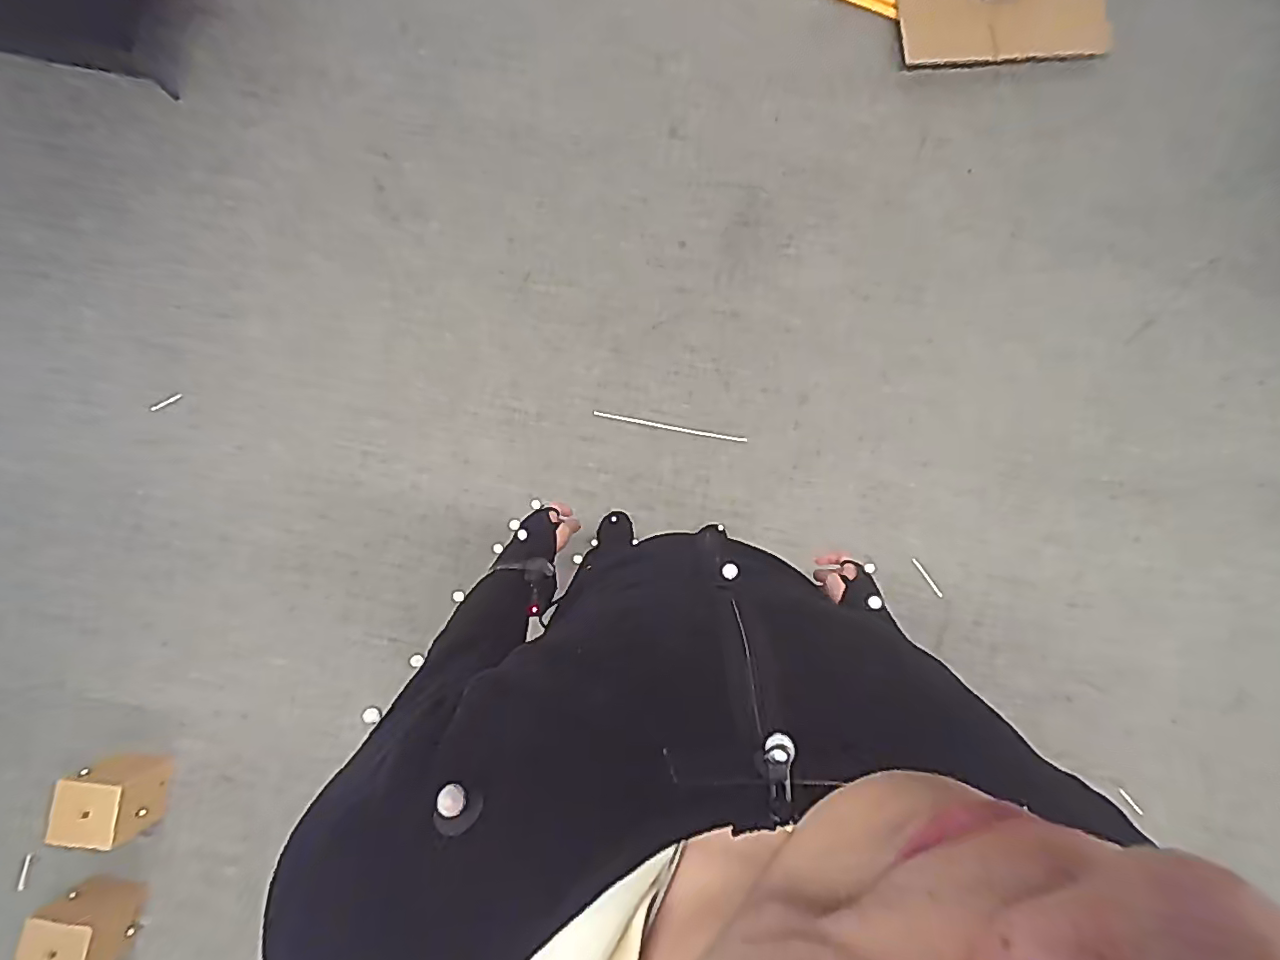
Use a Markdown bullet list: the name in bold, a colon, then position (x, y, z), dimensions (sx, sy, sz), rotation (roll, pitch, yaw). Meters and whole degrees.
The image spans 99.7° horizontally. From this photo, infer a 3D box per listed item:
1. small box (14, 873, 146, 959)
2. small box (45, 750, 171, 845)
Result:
- **small box**: position (-1.518, 1.214, 1.470), dimensions (0.179, 0.176, 0.168), rotation (10, 86, 0)
- **small box**: position (-1.460, 0.871, 1.498), dimensions (0.179, 0.176, 0.168), rotation (7, 86, 1)
